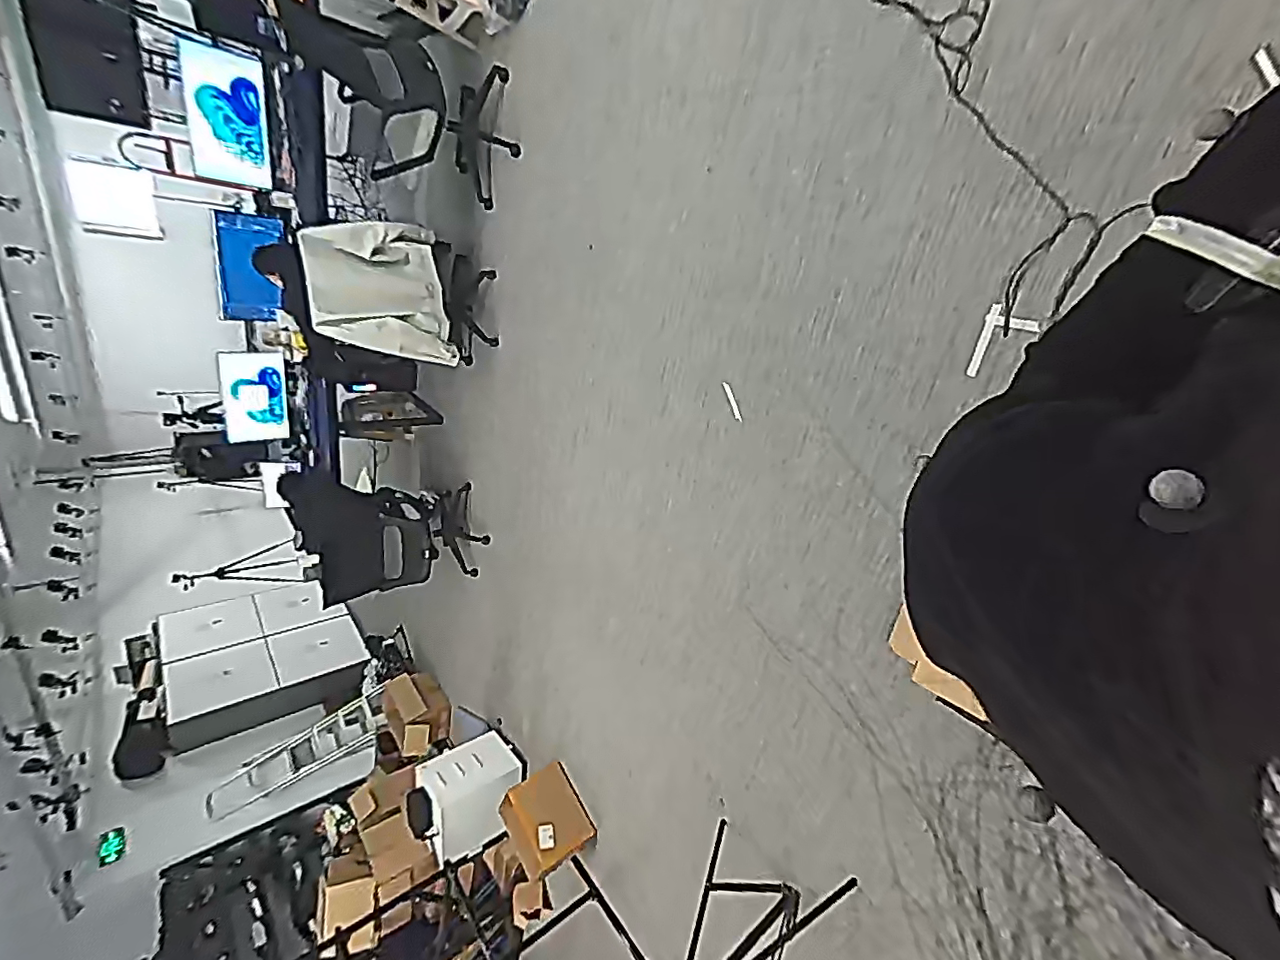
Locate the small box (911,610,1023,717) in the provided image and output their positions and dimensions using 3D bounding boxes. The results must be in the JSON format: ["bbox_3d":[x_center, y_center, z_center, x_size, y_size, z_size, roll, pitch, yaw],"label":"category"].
[{"bbox_3d":[0.820,0.448,1.357,0.179,0.176,0.168,24,117,43],"label":"small box"}]
